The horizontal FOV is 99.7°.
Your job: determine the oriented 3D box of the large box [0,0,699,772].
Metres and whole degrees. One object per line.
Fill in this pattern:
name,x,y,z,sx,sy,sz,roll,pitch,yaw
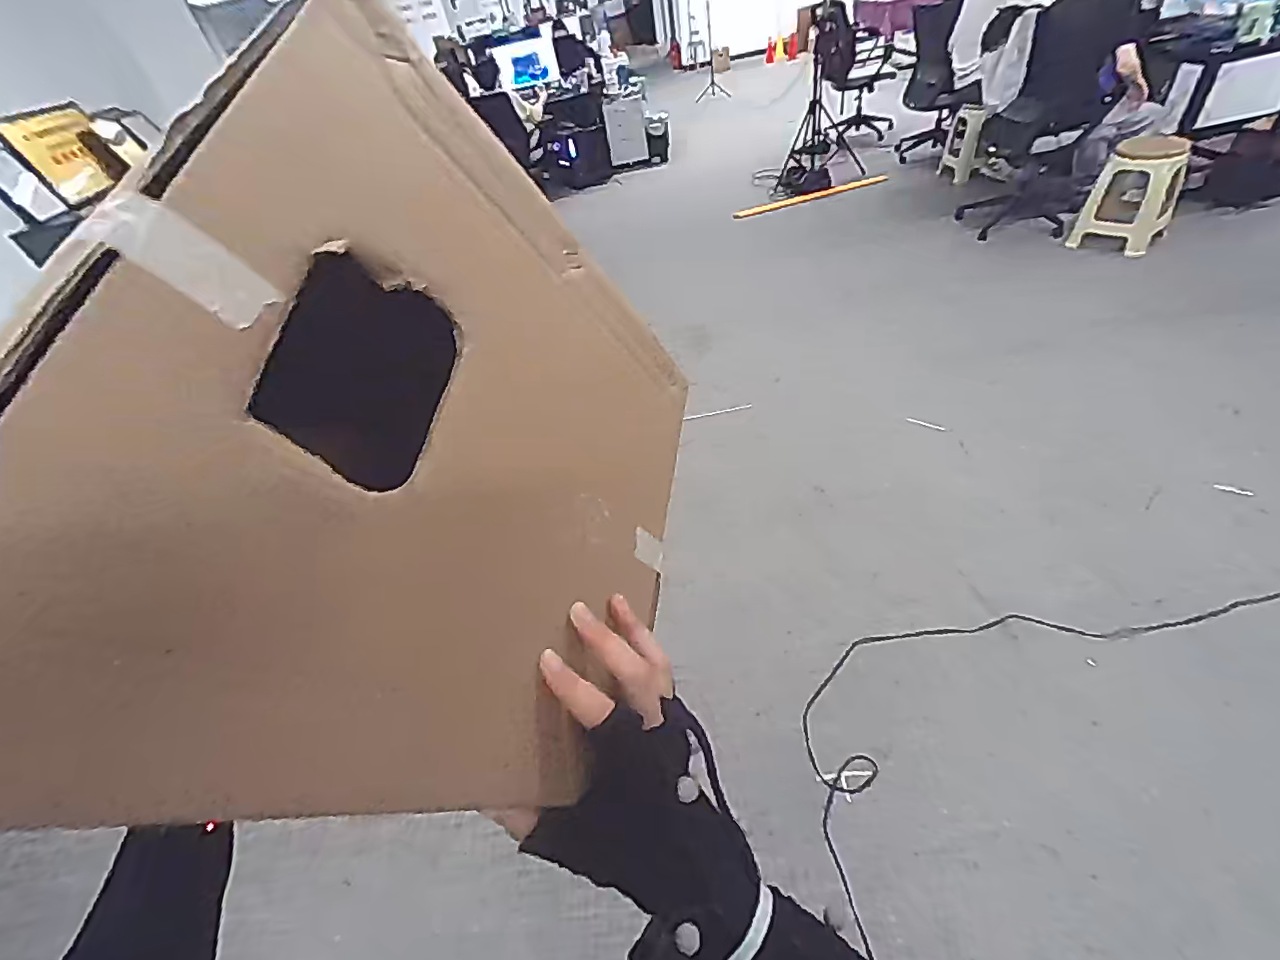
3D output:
large box,-0.215,0.000,0.389,0.408,0.320,0.320,-5,63,31
